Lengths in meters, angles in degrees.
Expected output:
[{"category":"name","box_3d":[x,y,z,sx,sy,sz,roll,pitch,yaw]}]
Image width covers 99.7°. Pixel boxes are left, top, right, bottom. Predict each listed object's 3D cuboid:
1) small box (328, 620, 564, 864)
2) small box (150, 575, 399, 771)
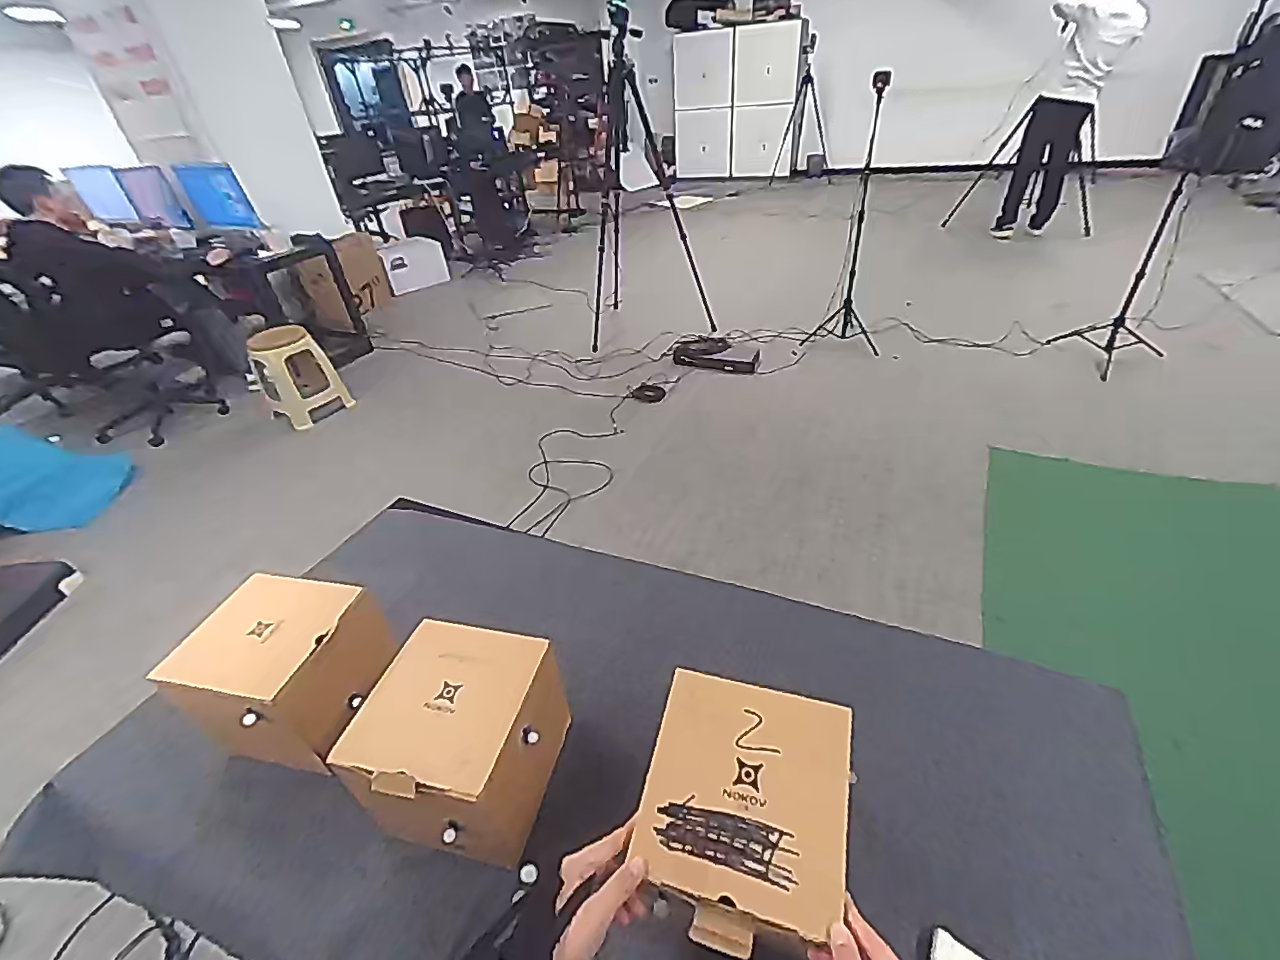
[{"category":"small box","box_3d":[-0.194,0.289,0.605,0.168,0.176,0.179,6,36,13]},{"category":"small box","box_3d":[-0.446,0.246,0.697,0.179,0.176,0.168,4,37,12]}]
